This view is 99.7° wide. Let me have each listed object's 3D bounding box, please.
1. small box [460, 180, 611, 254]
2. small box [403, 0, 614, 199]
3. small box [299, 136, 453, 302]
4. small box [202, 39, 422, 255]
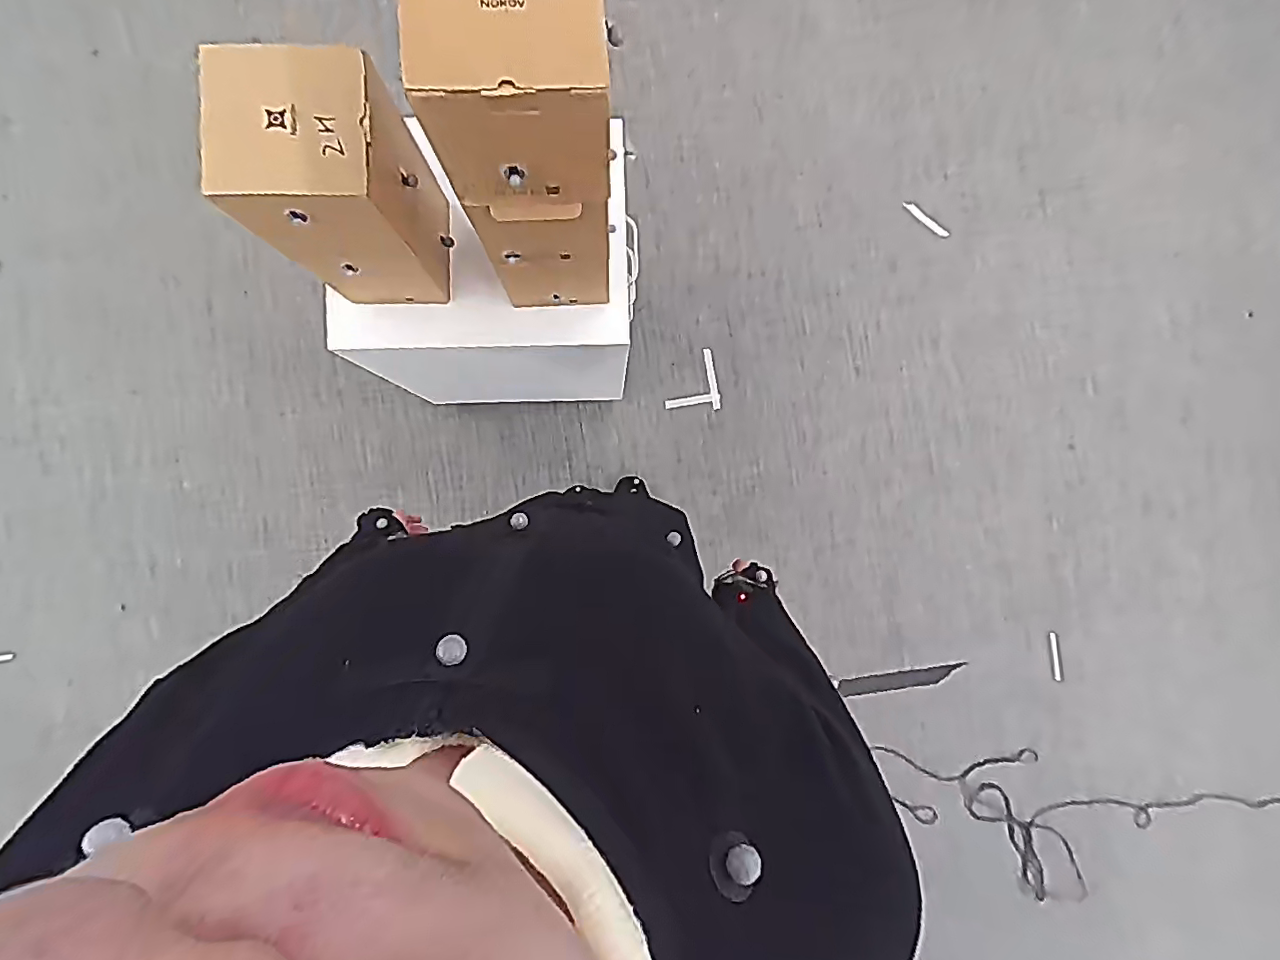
[{"bbox_3d":[-0.123,-0.397,0.676,0.168,0.176,0.179,-3,89,-3],"label":"small box"},{"bbox_3d":[-0.113,-0.397,0.514,0.168,0.176,0.179,-4,90,-3],"label":"small box"},{"bbox_3d":[-0.393,-0.390,0.825,0.168,0.176,0.179,-1,88,-3],"label":"small box"},{"bbox_3d":[-0.384,-0.389,0.660,0.179,0.176,0.168,-1,90,-3],"label":"small box"}]
